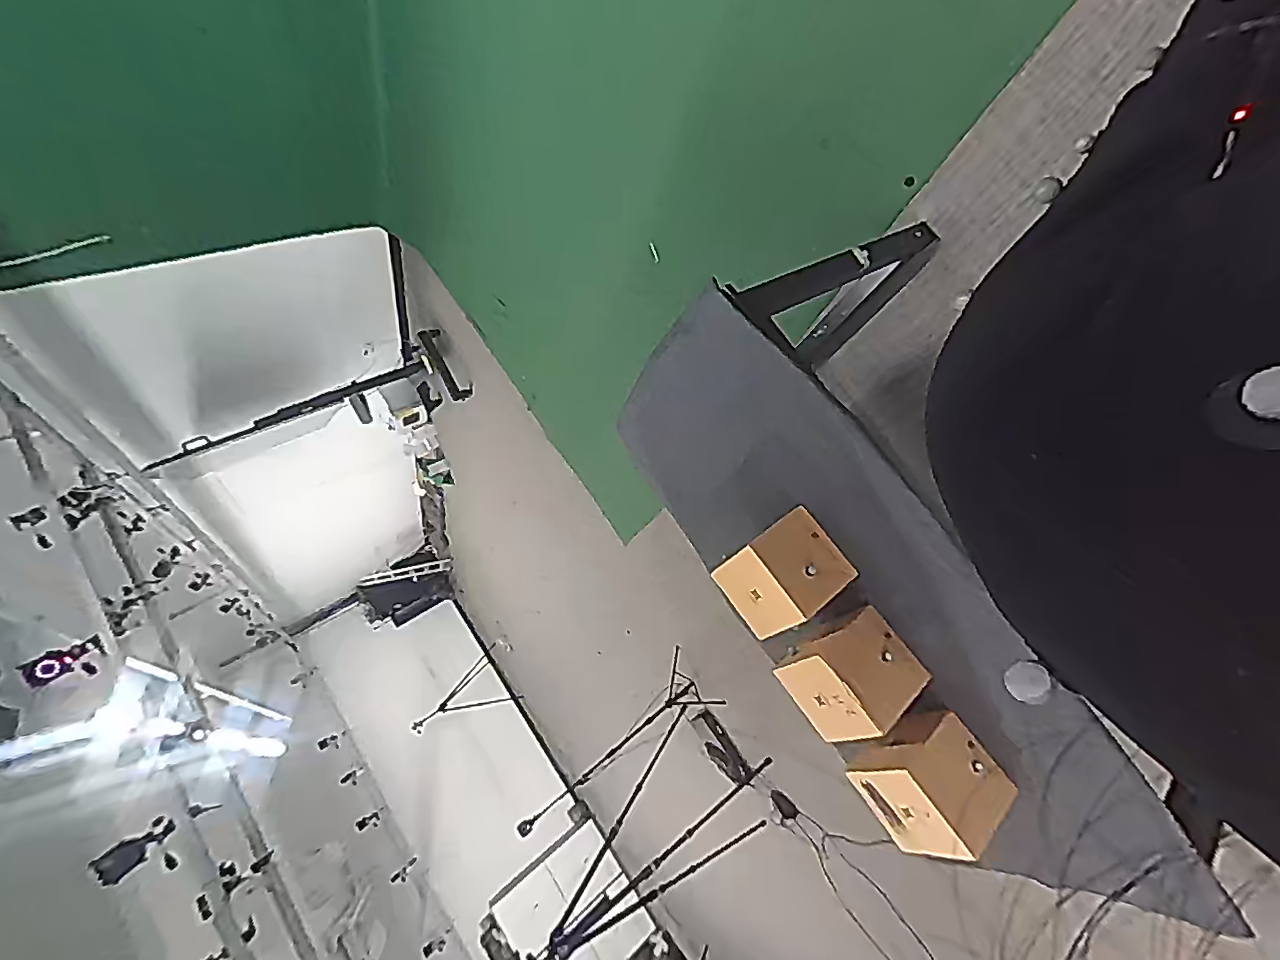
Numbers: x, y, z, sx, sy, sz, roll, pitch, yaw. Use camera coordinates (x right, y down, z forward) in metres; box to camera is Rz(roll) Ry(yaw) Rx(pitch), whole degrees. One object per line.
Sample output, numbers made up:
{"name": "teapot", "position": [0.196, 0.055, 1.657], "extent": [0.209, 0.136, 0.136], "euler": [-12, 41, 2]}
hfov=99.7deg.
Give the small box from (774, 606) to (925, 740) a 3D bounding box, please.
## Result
{"name": "small box", "position": [0.402, 0.371, 1.041], "extent": [0.168, 0.176, 0.179], "euler": [53, 149, 14]}
